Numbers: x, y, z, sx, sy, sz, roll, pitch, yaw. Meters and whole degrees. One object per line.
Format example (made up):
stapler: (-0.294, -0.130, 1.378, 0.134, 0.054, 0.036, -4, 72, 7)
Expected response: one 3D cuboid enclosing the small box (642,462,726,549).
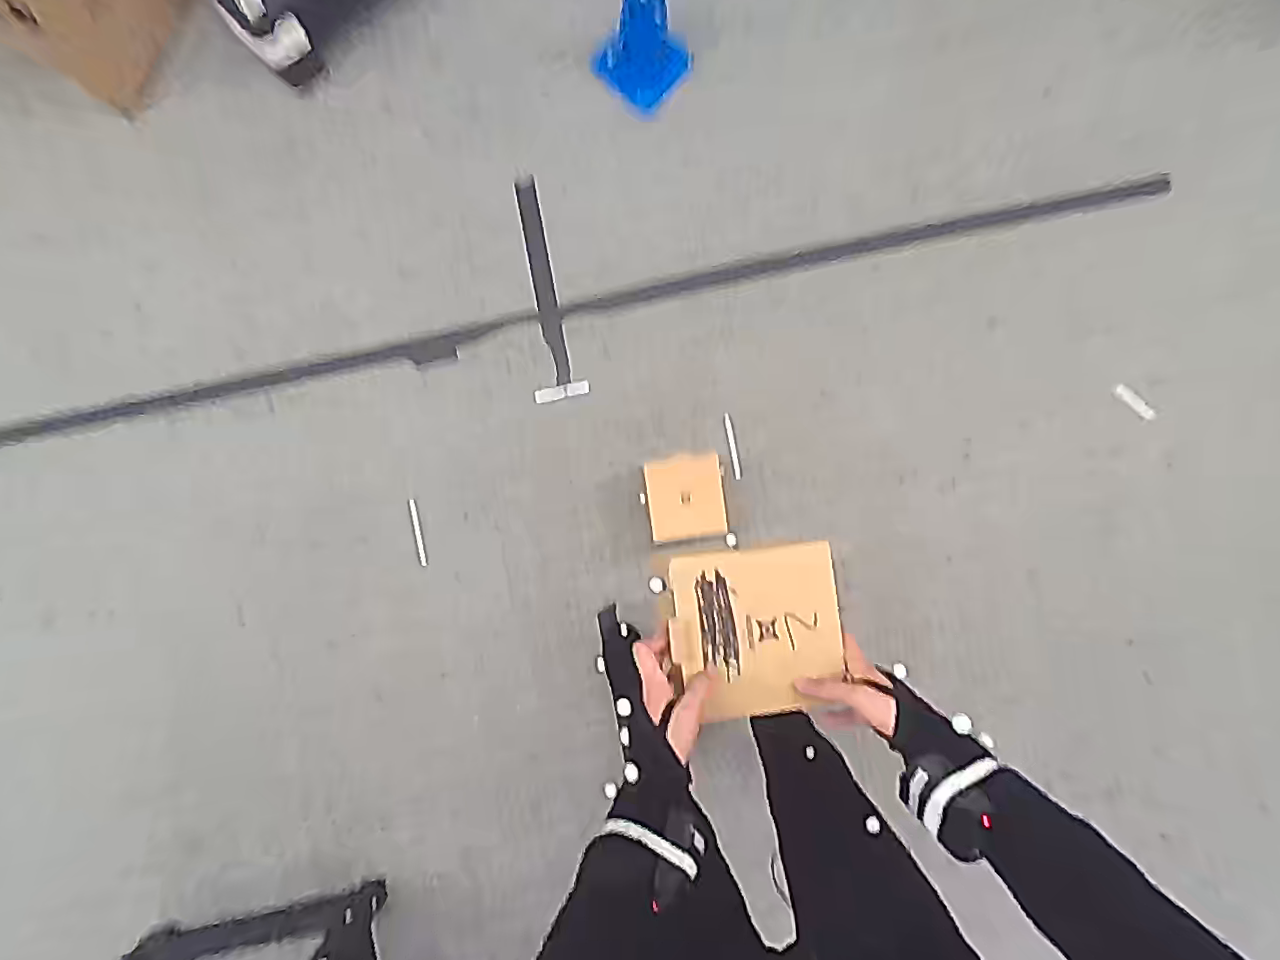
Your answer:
small box: (0.098, 0.057, 1.257, 0.168, 0.176, 0.179, -8, 88, -1)
